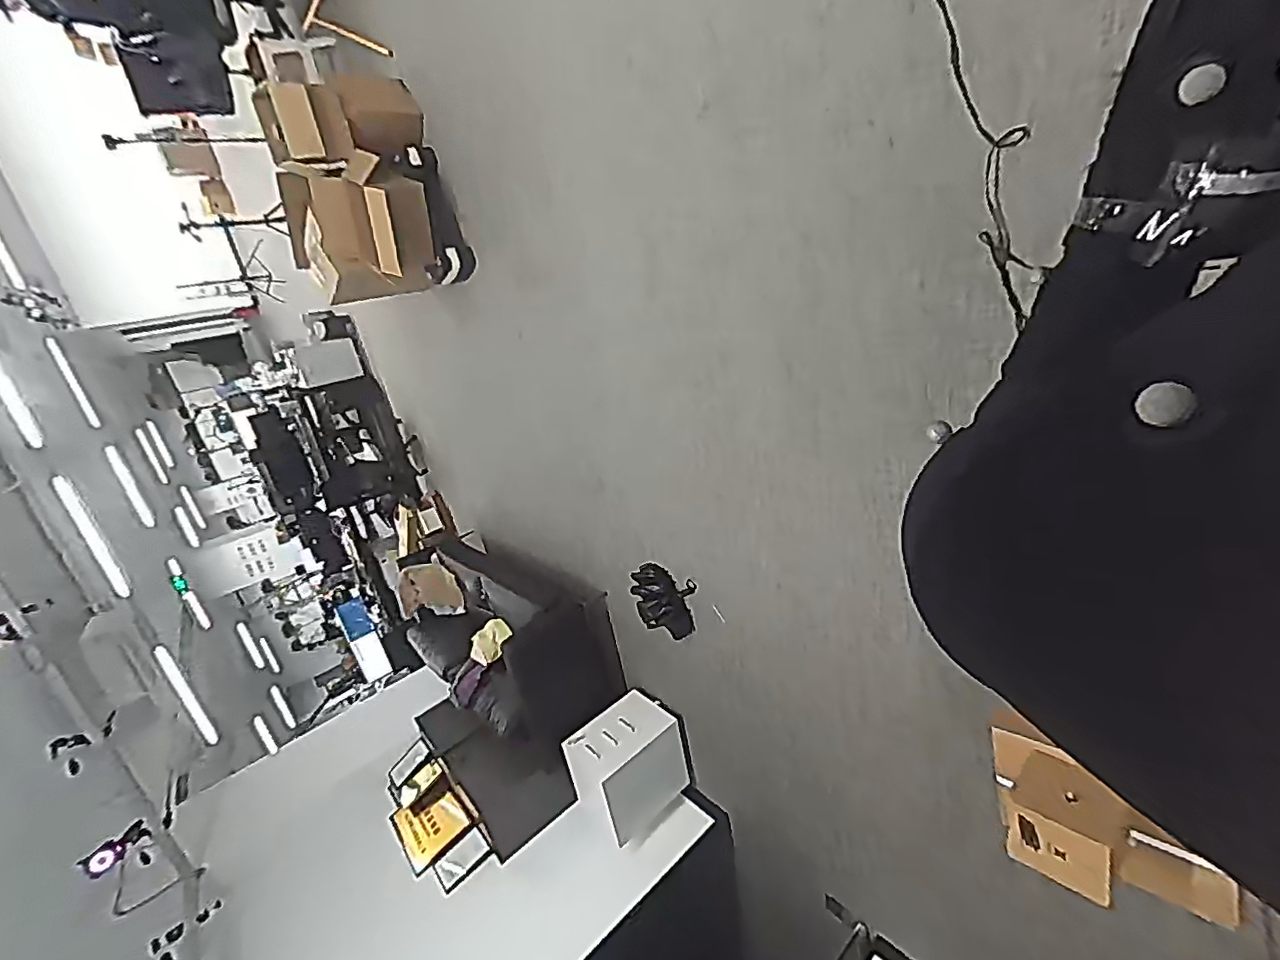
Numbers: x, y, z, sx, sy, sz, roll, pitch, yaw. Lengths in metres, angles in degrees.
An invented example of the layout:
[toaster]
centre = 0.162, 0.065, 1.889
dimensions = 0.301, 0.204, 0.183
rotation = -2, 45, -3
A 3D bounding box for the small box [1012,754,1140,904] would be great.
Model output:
[small box]
centre = 0.916, 0.717, 1.140
dimensions = 0.179, 0.176, 0.168
rotation = 8, 116, 50
